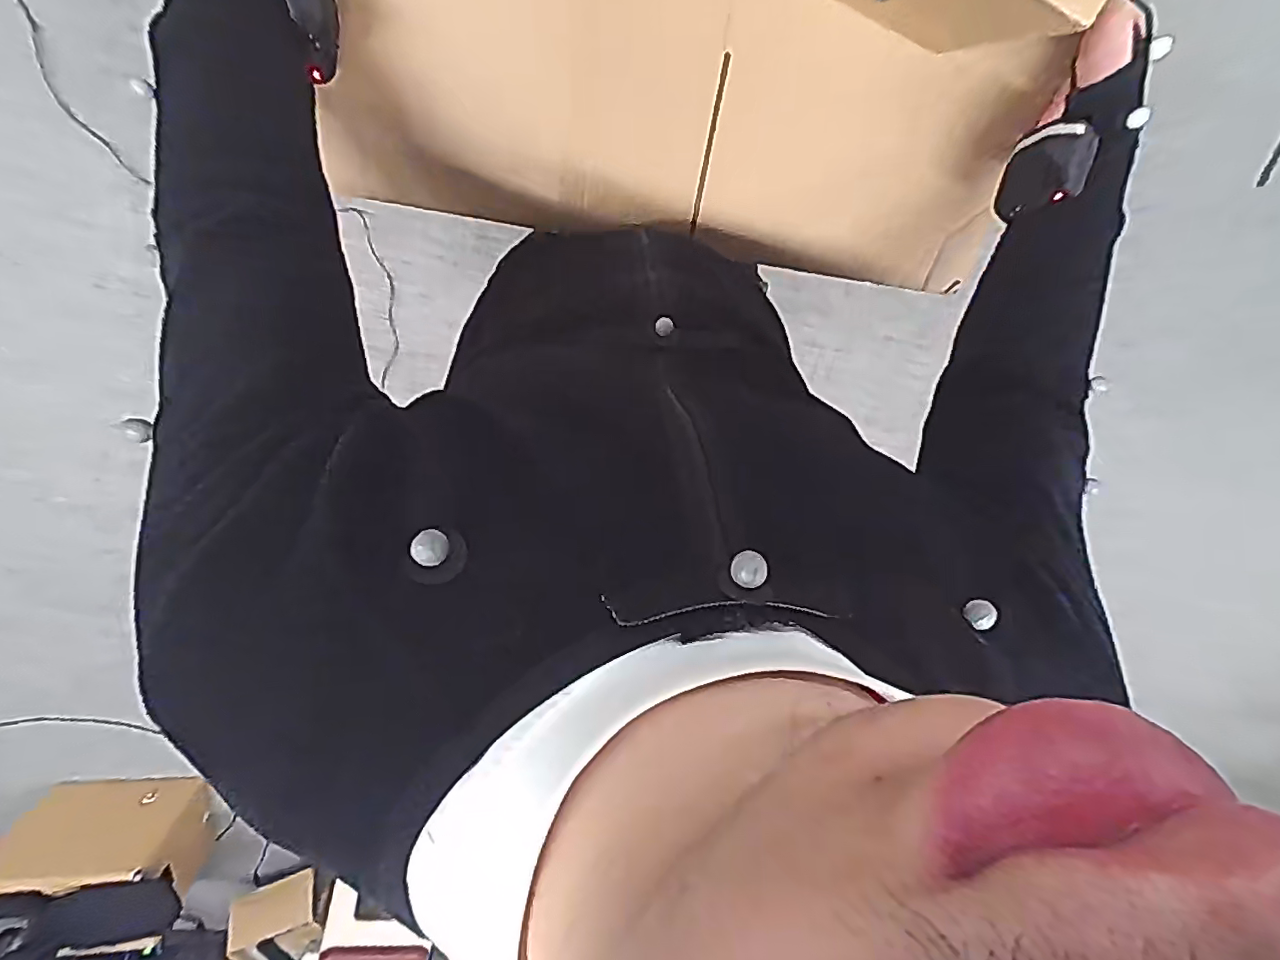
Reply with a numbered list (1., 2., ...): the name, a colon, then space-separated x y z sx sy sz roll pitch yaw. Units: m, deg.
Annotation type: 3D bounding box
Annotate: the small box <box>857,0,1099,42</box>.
1. small box: 0.208 -0.403 0.329 0.179 0.176 0.168 15 121 -14
